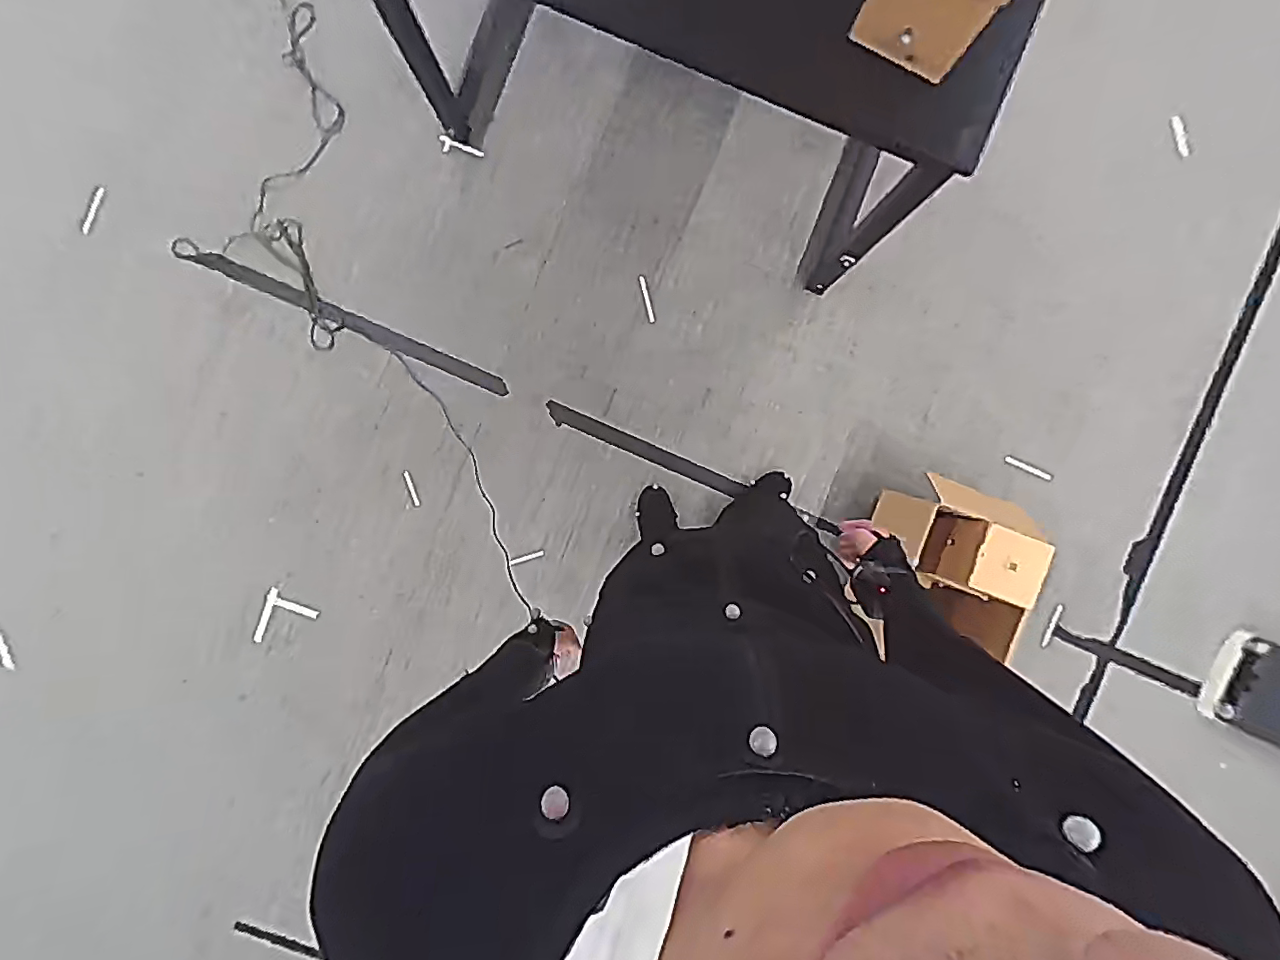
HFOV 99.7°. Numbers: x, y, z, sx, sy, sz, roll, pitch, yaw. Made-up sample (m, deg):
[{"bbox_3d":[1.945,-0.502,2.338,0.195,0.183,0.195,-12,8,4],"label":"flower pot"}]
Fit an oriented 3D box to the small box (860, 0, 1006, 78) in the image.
[{"bbox_3d":[0.455,-0.754,0.790,0.168,0.176,0.179,27,91,-1],"label":"small box"}]
